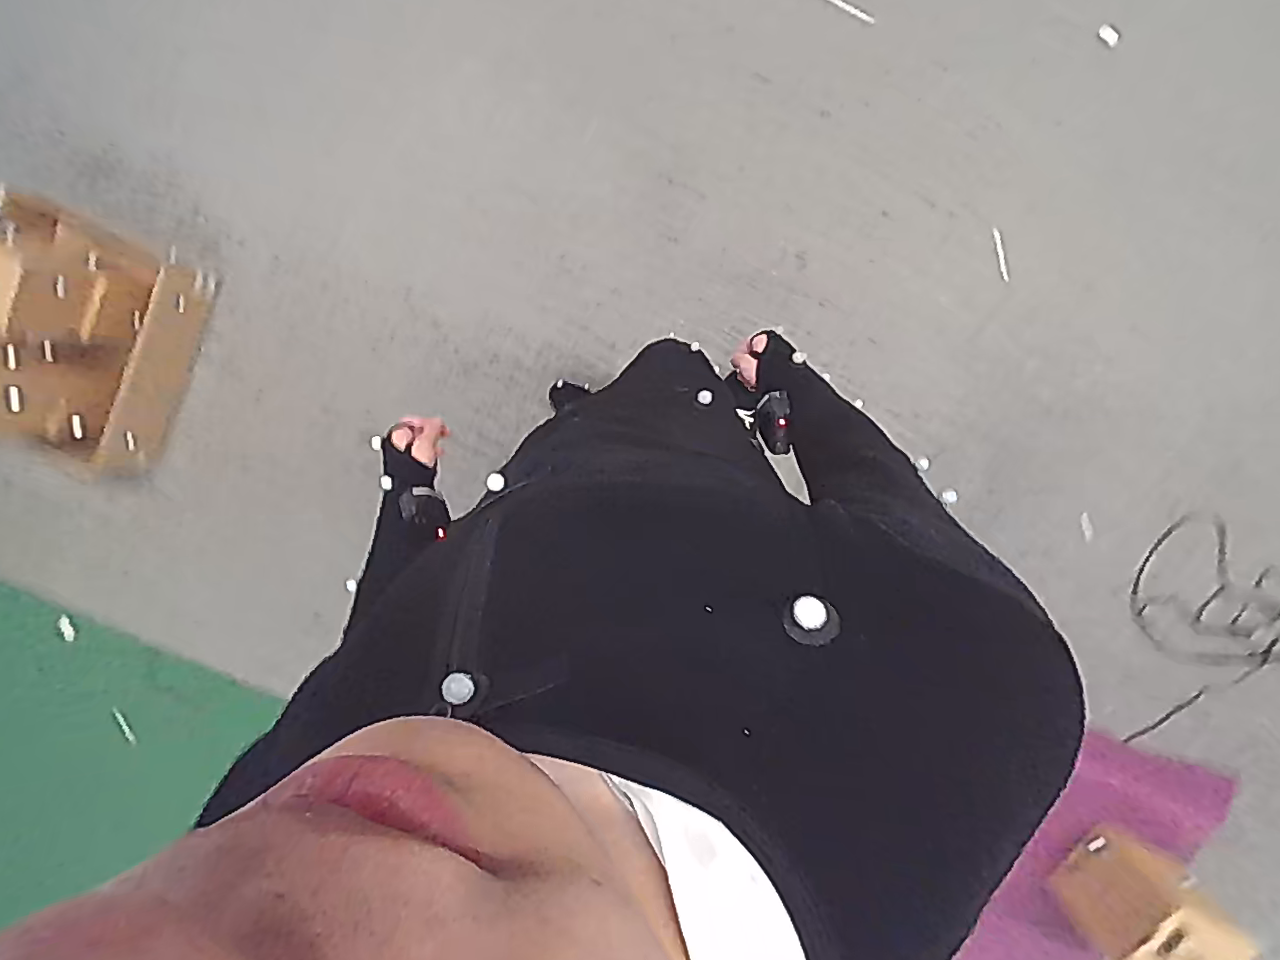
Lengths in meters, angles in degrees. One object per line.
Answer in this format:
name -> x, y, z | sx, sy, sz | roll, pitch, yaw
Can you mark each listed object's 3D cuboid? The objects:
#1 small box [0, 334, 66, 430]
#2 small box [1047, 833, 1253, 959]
small box -> -1.525, -0.232, 1.263 | 0.168, 0.176, 0.179 | 38, 98, -7
small box -> 0.907, 0.792, 0.984 | 0.179, 0.176, 0.168 | 29, 102, -5
